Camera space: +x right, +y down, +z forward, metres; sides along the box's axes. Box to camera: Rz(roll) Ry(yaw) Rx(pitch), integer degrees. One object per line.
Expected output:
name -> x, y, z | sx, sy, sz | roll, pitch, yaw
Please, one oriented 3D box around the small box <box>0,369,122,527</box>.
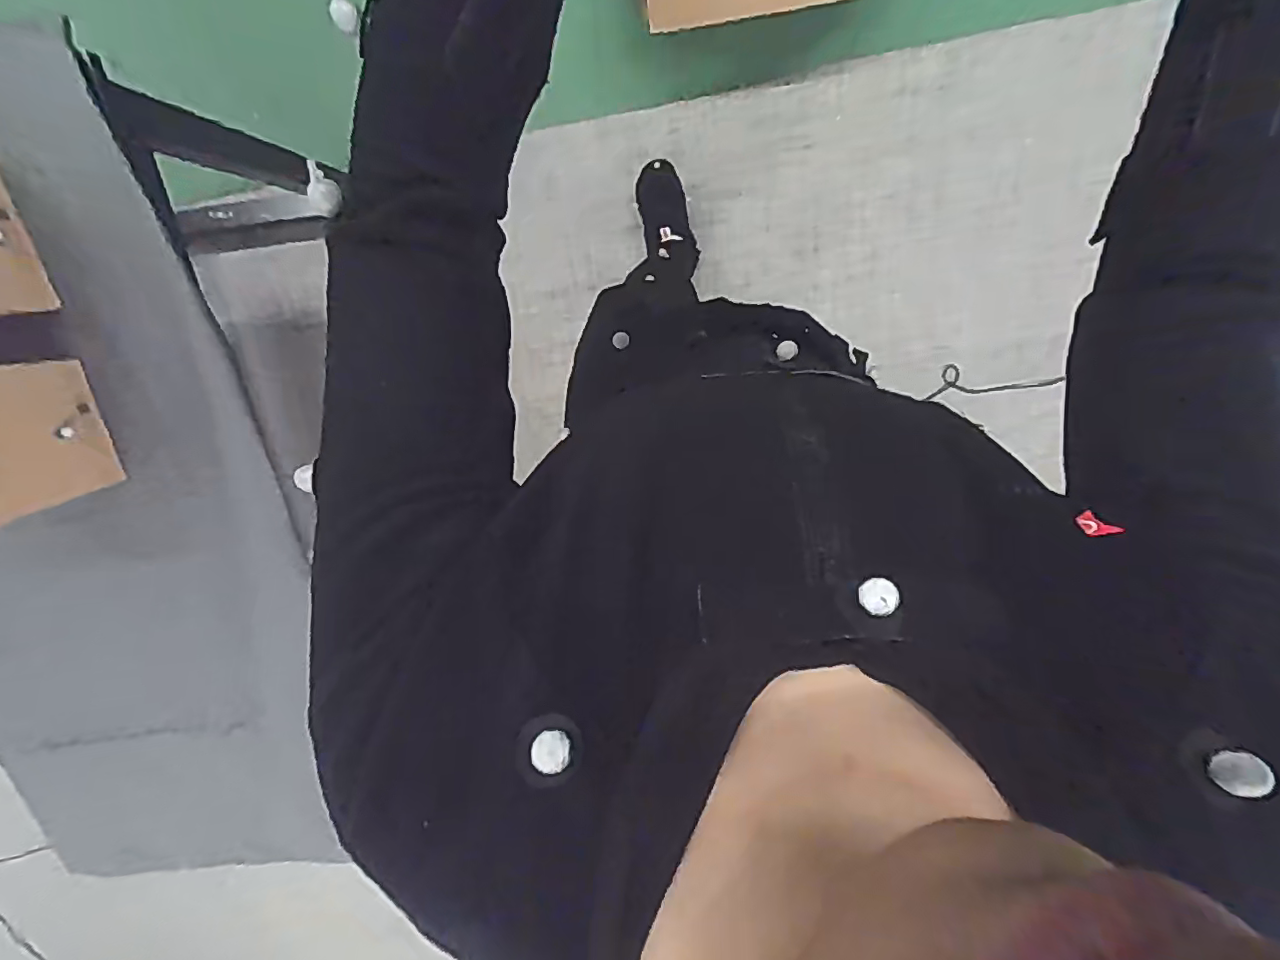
small box -> -0.797, -0.036, 0.643 | 0.179, 0.176, 0.168 | -4, 108, 3
